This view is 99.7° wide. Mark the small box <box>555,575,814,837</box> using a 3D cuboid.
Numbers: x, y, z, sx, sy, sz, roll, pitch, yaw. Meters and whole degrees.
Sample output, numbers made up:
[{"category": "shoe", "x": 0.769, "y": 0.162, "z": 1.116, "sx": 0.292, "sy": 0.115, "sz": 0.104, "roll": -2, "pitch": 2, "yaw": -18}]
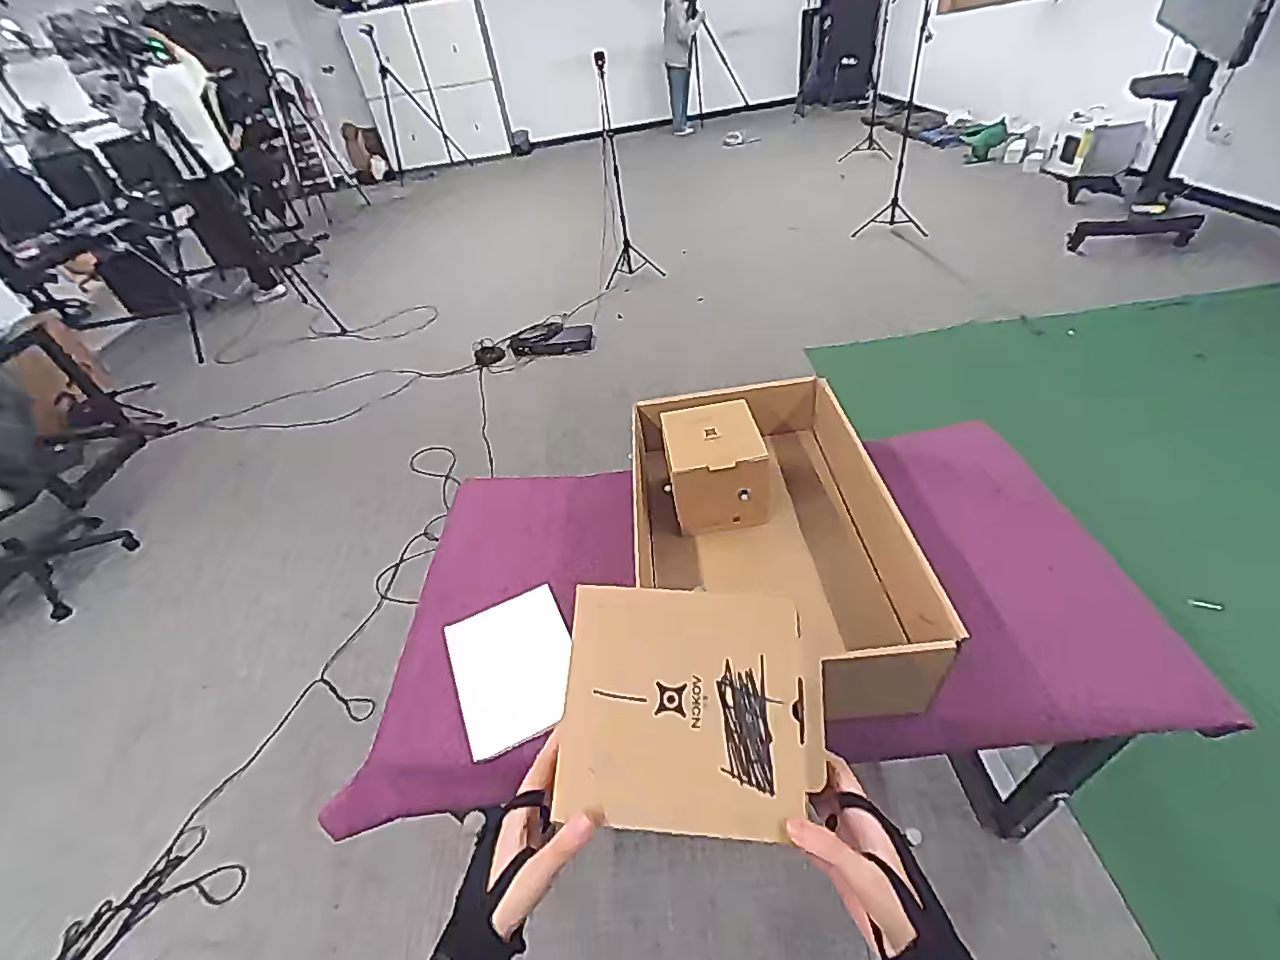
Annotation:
[{"category": "small box", "x": 0.039, "y": 0.188, "z": 0.466, "sx": 0.179, "sy": 0.176, "sz": 0.168, "roll": 3, "pitch": 65, "yaw": 5}]
